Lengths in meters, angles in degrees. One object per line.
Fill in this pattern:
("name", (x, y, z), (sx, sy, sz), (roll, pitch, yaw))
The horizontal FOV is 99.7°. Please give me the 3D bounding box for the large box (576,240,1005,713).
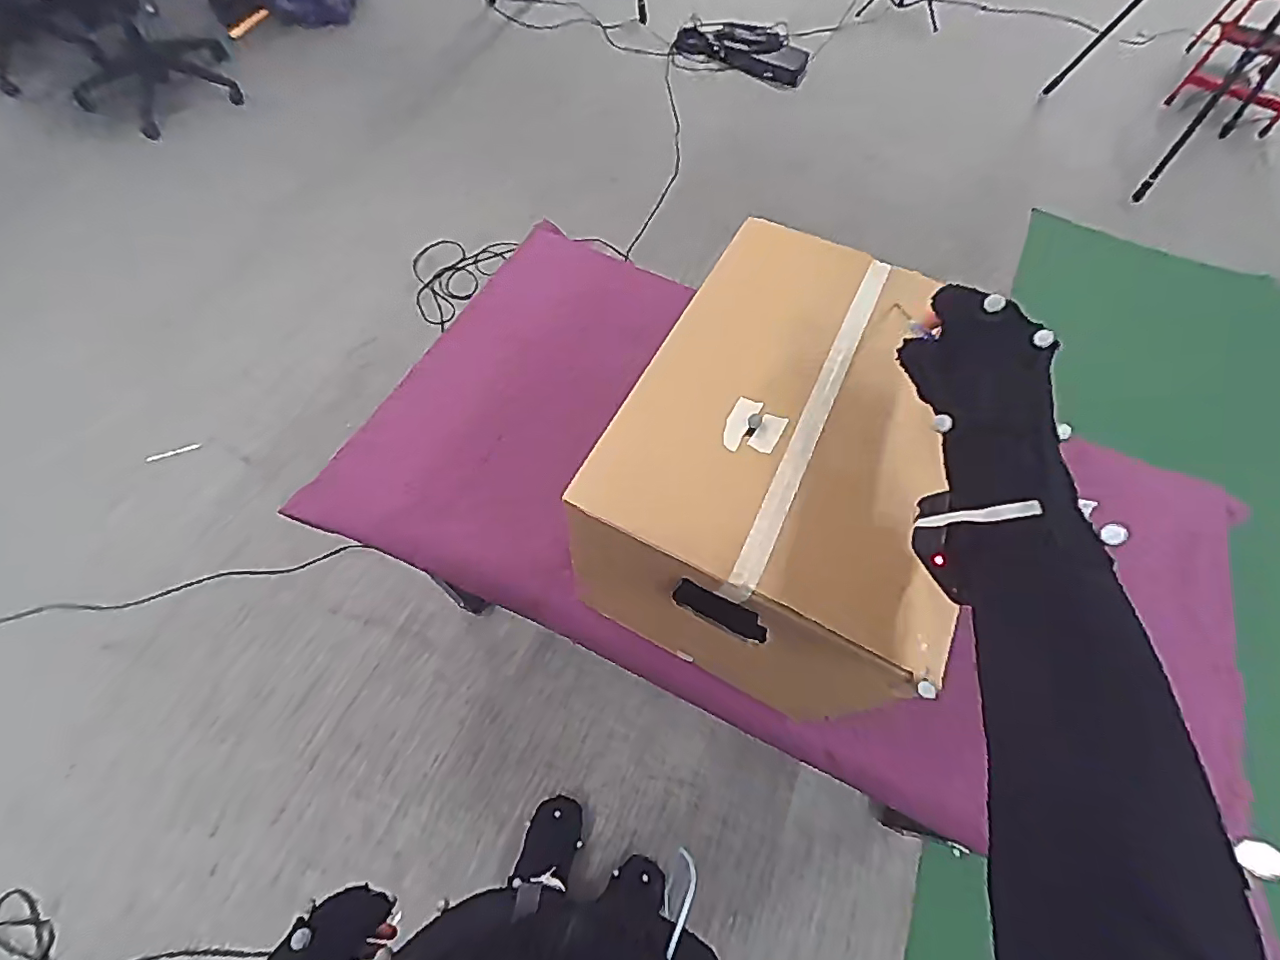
("large box", (0.158, 0.007, 0.648), (0.320, 0.320, 0.408), (26, 64, 10))
